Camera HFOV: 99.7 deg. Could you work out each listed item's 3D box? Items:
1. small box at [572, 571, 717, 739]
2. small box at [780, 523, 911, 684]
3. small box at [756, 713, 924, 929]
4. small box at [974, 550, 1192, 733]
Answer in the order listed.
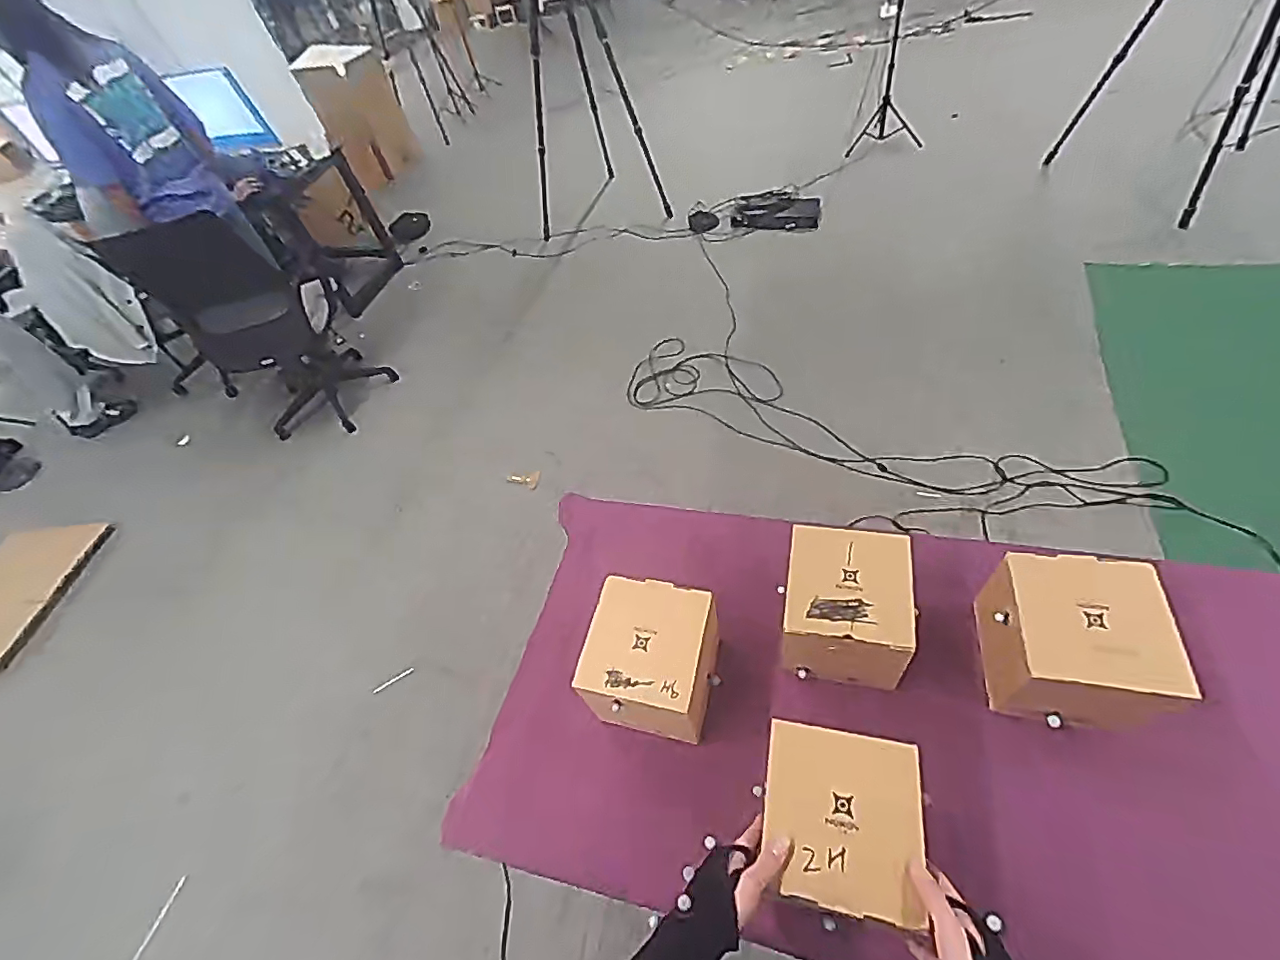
[{"bbox_3d":[0.019,0.266,0.822,0.168,0.176,0.179,6,53,19],"label":"small box"},{"bbox_3d":[0.306,0.190,0.821,0.168,0.176,0.179,5,53,17],"label":"small box"},{"bbox_3d":[0.233,0.413,0.659,0.168,0.176,0.179,5,53,17],"label":"small box"},{"bbox_3d":[0.576,0.220,0.737,0.168,0.176,0.179,4,54,17],"label":"small box"}]
